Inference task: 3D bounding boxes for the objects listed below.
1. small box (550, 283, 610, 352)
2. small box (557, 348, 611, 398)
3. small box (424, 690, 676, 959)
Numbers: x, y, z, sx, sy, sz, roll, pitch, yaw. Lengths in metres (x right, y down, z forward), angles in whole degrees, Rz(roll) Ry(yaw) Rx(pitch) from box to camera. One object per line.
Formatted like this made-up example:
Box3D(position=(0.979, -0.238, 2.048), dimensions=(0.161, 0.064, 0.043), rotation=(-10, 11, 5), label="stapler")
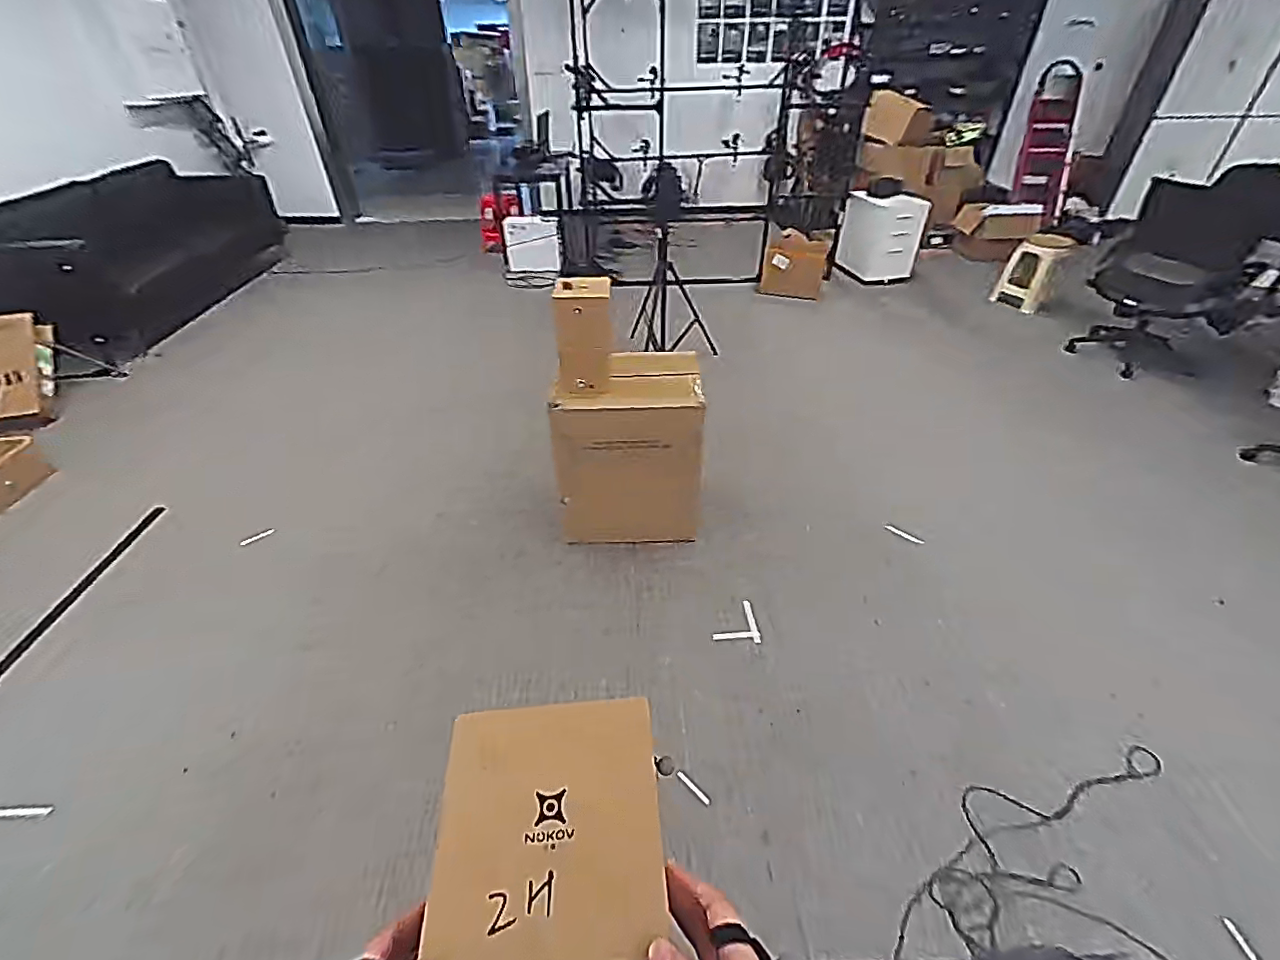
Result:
Box3D(position=(-0.188, -0.523, 1.746), dimensions=(0.179, 0.176, 0.168), rotation=(-2, 40, -1), label="small box")
Box3D(position=(-0.188, -0.398, 1.853), dimensions=(0.168, 0.176, 0.179), rotation=(-2, 41, -1), label="small box")
Box3D(position=(-0.061, 0.306, 0.462), dimensions=(0.168, 0.176, 0.179), rotation=(-5, 44, -1), label="small box")
